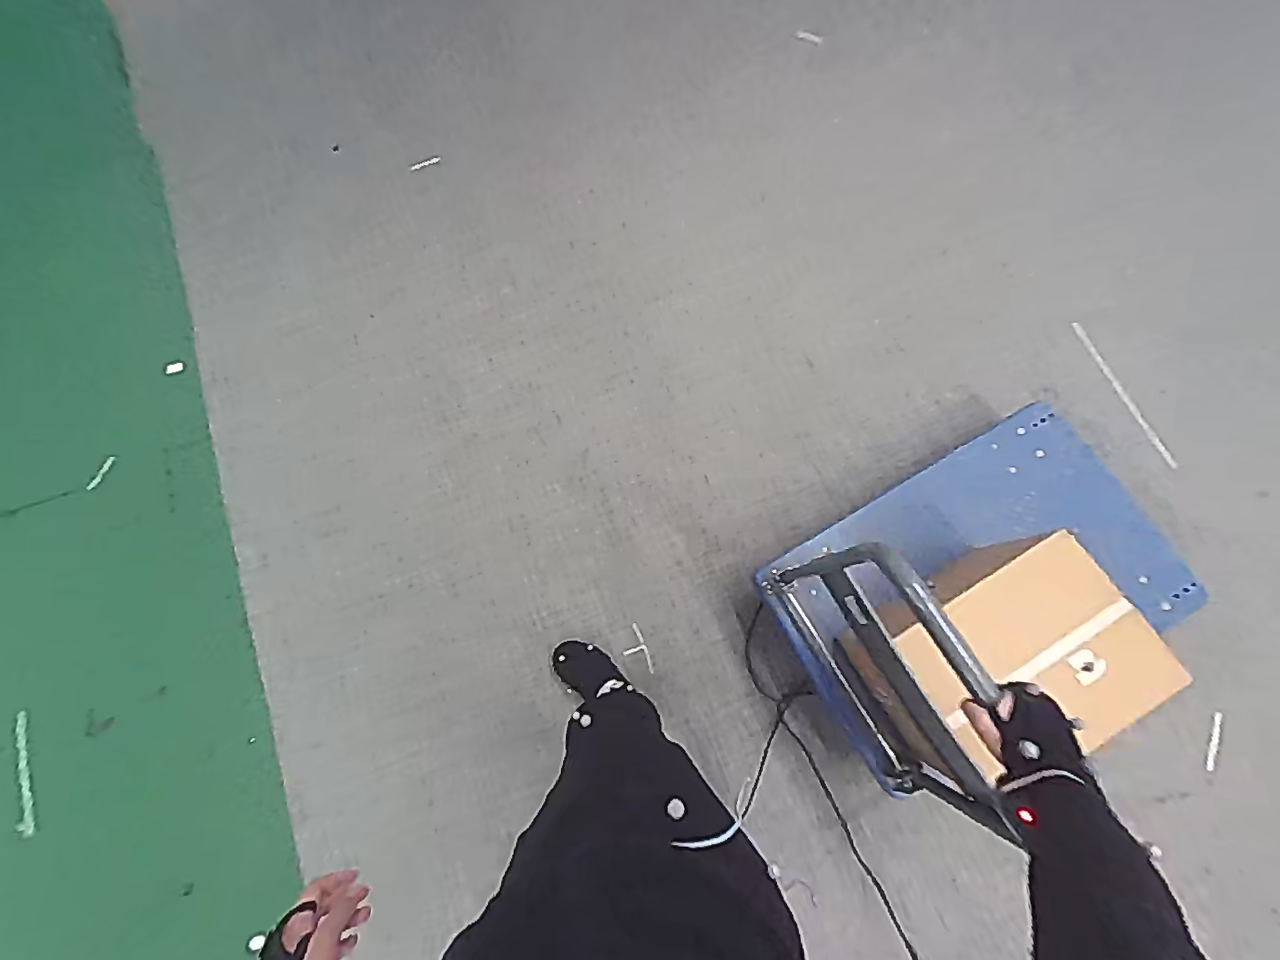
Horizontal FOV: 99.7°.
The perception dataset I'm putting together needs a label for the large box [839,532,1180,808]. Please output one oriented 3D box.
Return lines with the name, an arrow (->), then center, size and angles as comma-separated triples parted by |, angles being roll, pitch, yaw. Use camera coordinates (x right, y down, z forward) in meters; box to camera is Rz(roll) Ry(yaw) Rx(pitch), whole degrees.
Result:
large box -> 0.694, 0.360, 1.093 | 0.408, 0.320, 0.320 | -31, 77, -5
